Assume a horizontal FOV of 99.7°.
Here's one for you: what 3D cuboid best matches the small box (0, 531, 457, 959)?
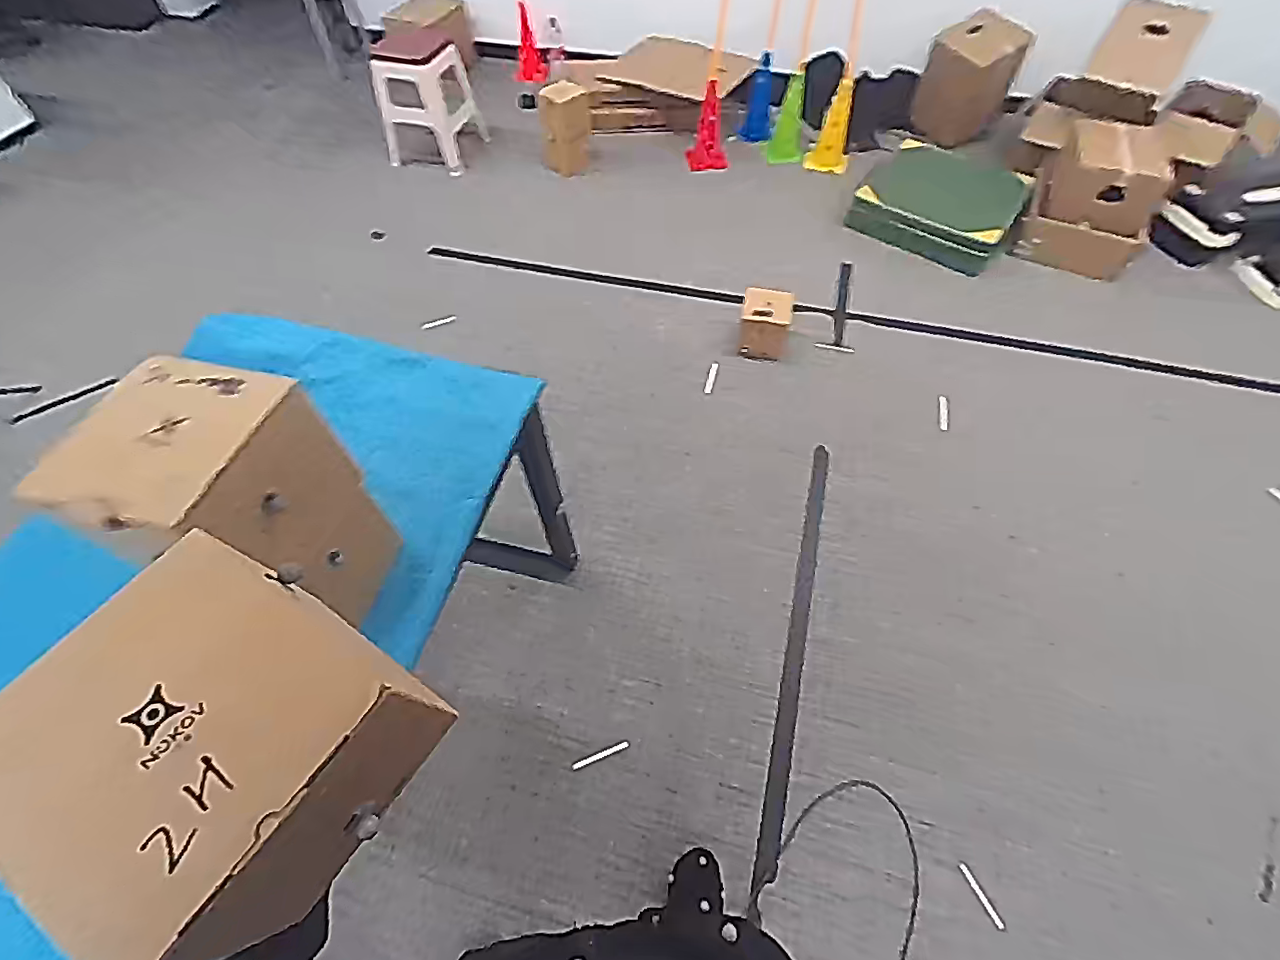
[{"bbox_3d":[-0.258,0.171,0.367,0.179,0.176,0.168,37,67,13],"label":"small box"}]

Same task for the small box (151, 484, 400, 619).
[{"bbox_3d":[-0.443,0.099,0.698,0.168,0.176,0.179,12,58,8],"label":"small box"}]

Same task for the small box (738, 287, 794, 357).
[{"bbox_3d":[0.457,-0.572,1.972,0.168,0.176,0.179,11,57,8],"label":"small box"}]

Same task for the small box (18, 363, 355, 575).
[{"bbox_3d":[-0.438,0.006,0.565,0.168,0.176,0.179,8,57,7],"label":"small box"}]
